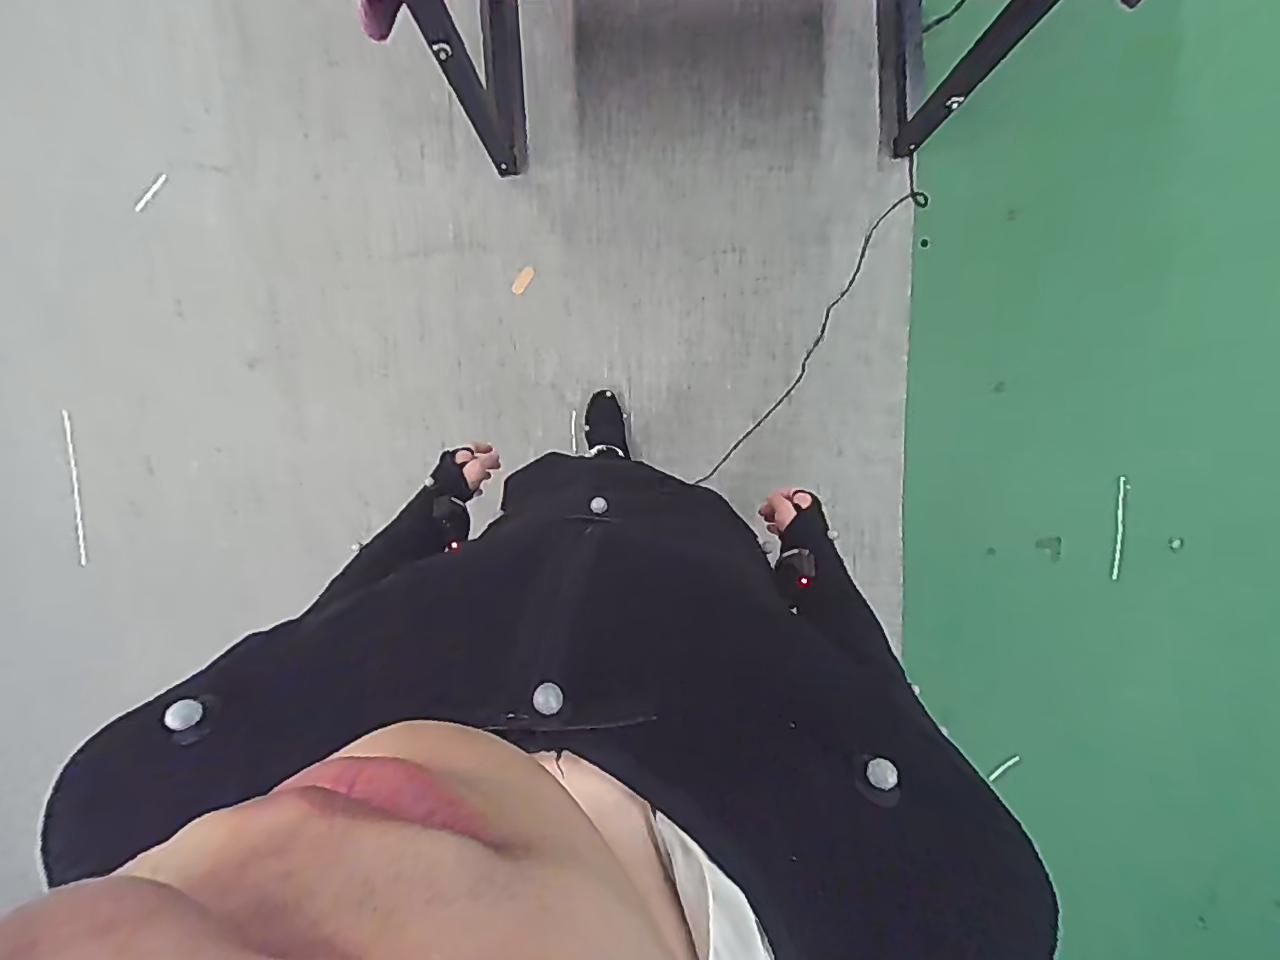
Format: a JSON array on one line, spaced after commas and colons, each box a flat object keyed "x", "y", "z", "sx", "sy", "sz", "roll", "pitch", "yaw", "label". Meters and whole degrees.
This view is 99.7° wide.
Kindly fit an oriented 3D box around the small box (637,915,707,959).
[{"x": 0.084, "y": 1.341, "z": 1.480, "sx": 0.179, "sy": 0.176, "sz": 0.168, "roll": 7, "pitch": 95, "yaw": -1, "label": "small box"}]

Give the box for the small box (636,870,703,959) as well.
[{"x": 0.086, "y": 1.334, "z": 1.646, "sx": 0.179, "sy": 0.176, "sz": 0.168, "roll": 8, "pitch": 95, "yaw": -1, "label": "small box"}]
